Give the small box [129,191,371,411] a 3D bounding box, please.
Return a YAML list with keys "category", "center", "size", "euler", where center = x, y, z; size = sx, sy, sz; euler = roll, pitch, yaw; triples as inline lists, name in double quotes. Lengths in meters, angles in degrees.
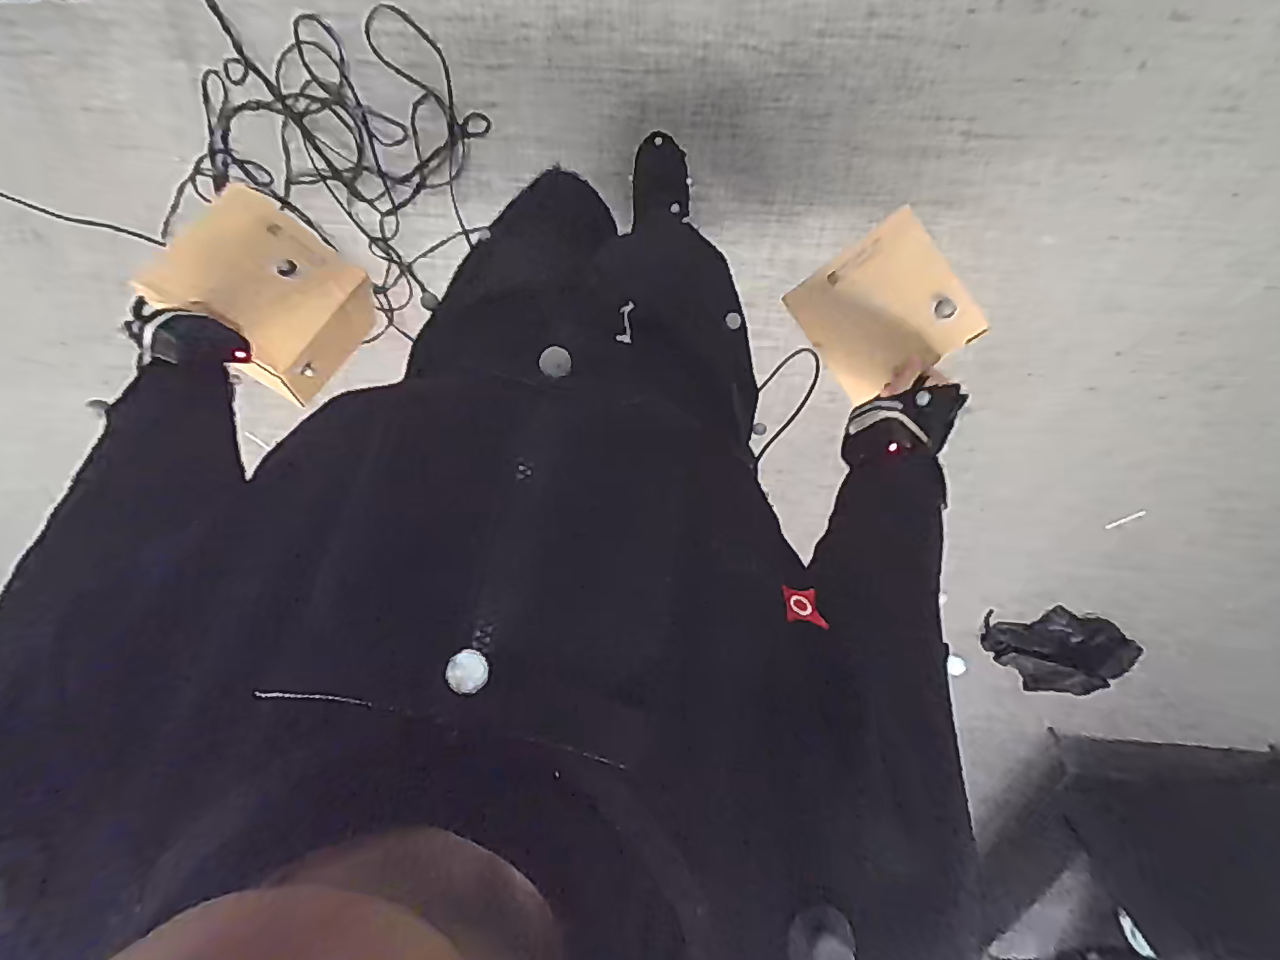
- category: "small box"
  center: [-0.469, -0.216, 0.691]
  size: [0.168, 0.176, 0.179]
  euler: [34, 163, -16]
